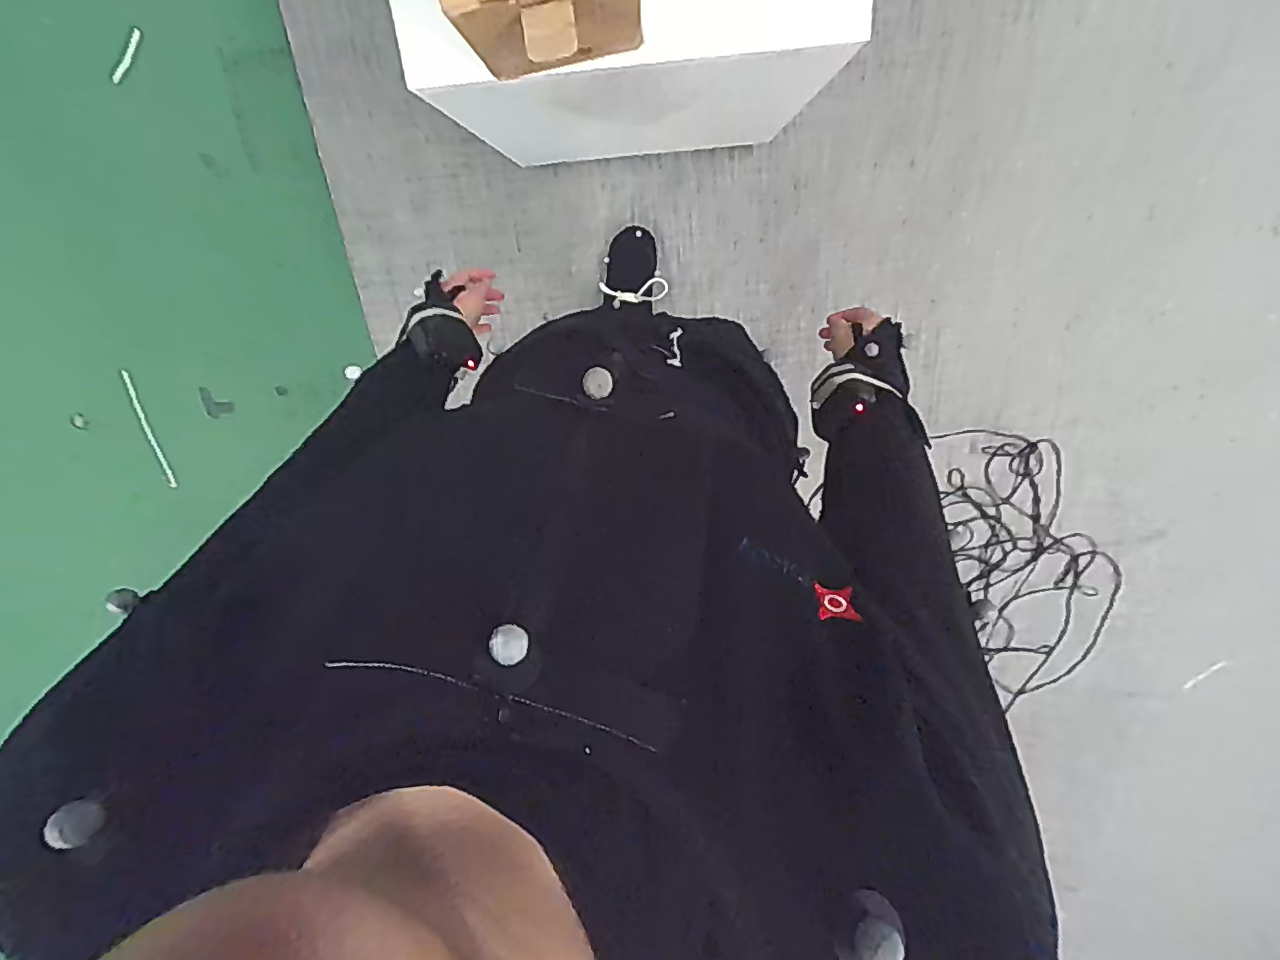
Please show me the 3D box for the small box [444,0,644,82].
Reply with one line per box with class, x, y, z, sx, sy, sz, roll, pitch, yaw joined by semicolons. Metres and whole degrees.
small box;-0.091;-0.497;0.482;0.168;0.176;0.179;-10;111;4
